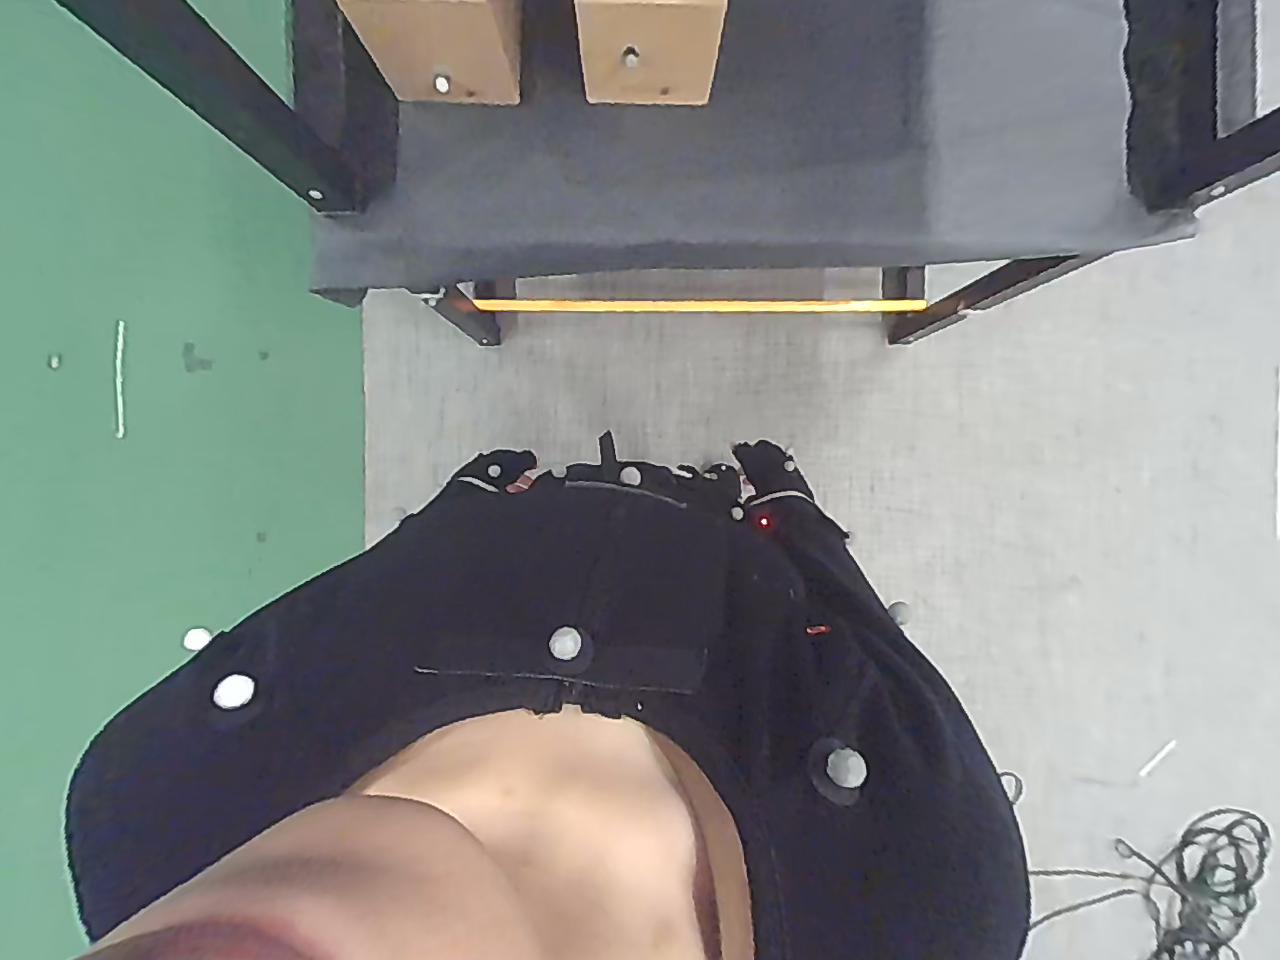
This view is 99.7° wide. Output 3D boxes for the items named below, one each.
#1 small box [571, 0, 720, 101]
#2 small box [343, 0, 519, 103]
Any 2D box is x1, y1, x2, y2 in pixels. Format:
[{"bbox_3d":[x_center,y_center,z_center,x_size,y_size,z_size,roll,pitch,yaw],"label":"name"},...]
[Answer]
[{"bbox_3d":[0.008,-0.600,0.657,0.168,0.176,0.179,0,91,-1],"label":"small box"},{"bbox_3d":[-0.245,-0.600,0.651,0.168,0.176,0.179,1,92,-1],"label":"small box"}]
